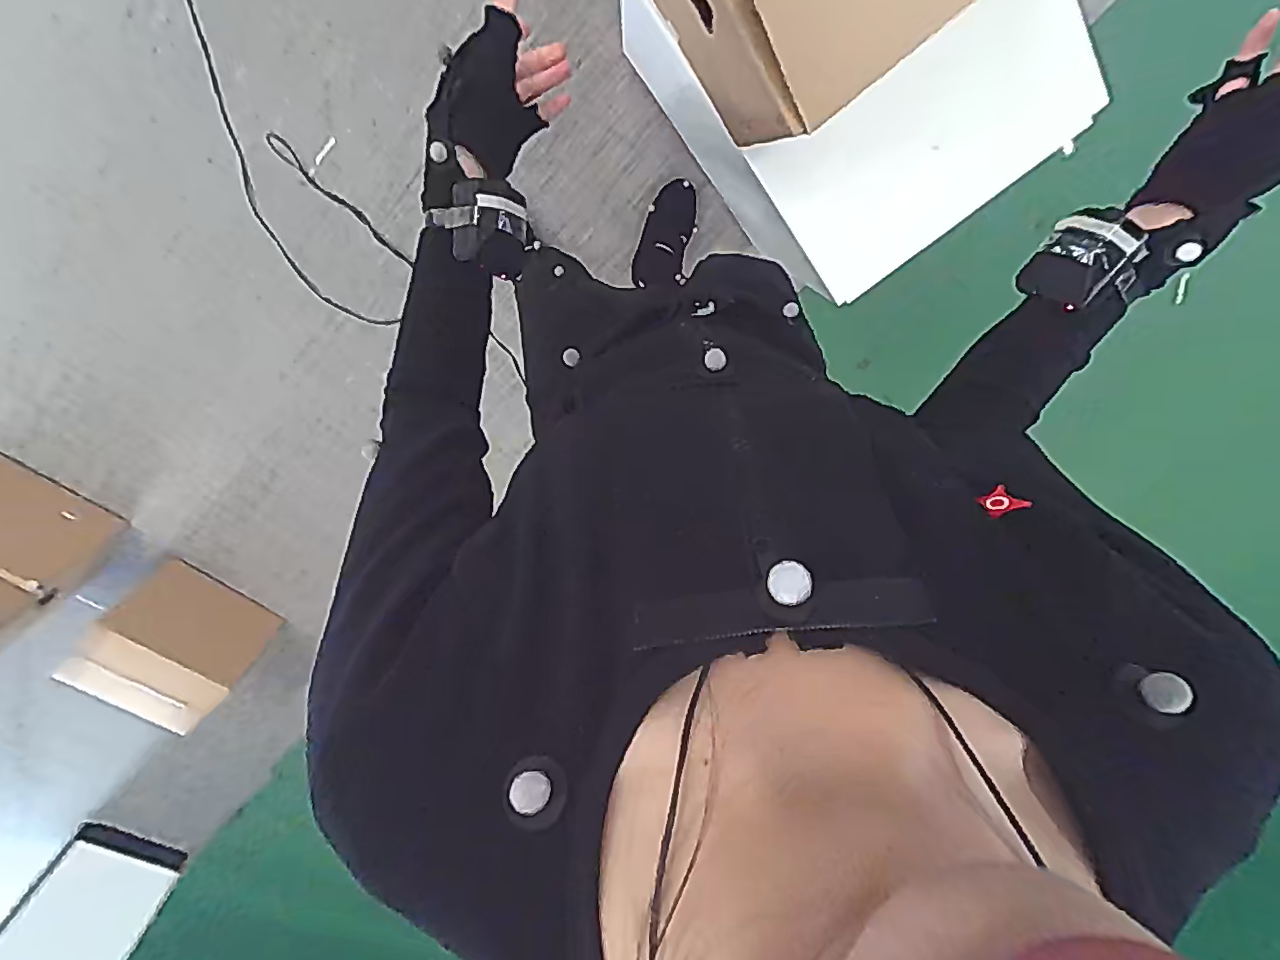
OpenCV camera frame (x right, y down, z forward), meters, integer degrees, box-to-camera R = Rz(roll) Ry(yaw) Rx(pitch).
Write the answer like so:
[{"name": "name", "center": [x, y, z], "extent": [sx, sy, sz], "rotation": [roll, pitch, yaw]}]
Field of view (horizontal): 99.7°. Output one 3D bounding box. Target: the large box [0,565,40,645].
[{"name": "large box", "center": [-1.831, 0.328, 1.278], "extent": [0.320, 0.320, 0.408], "rotation": [-42, 113, 15]}]
